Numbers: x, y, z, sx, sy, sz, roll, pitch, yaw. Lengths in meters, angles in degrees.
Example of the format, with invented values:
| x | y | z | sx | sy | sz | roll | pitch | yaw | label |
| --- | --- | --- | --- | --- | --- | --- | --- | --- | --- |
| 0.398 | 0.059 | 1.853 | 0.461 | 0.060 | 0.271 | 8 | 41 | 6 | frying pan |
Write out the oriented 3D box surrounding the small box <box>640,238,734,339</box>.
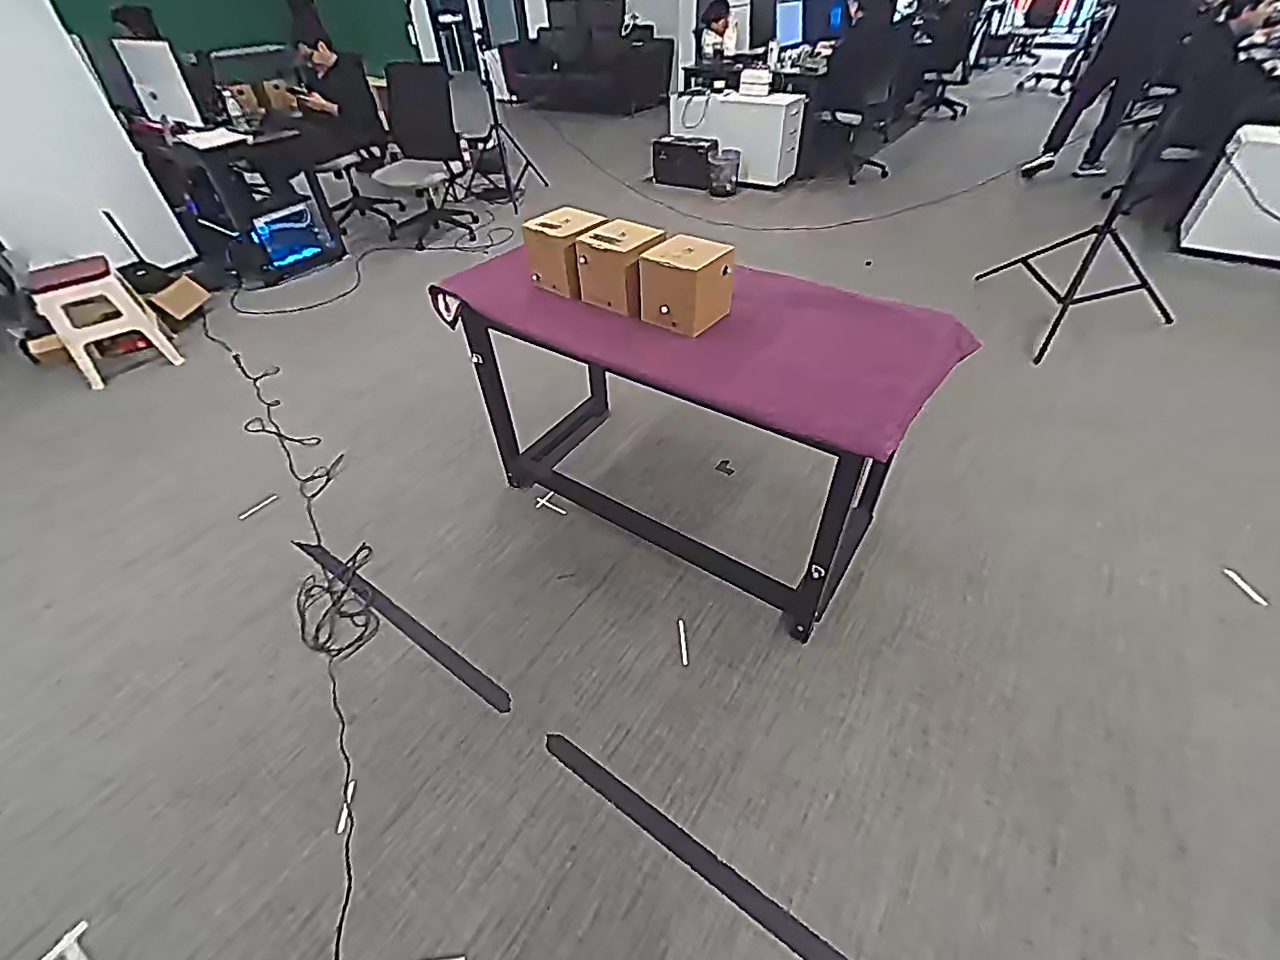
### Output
| x | y | z | sx | sy | sz | roll | pitch | yaw | label |
| --- | --- | --- | --- | --- | --- | --- | --- | --- | --- |
| 0.114 | -0.478 | 1.349 | 0.168 | 0.176 | 0.179 | 26 | 50 | 29 | small box |
